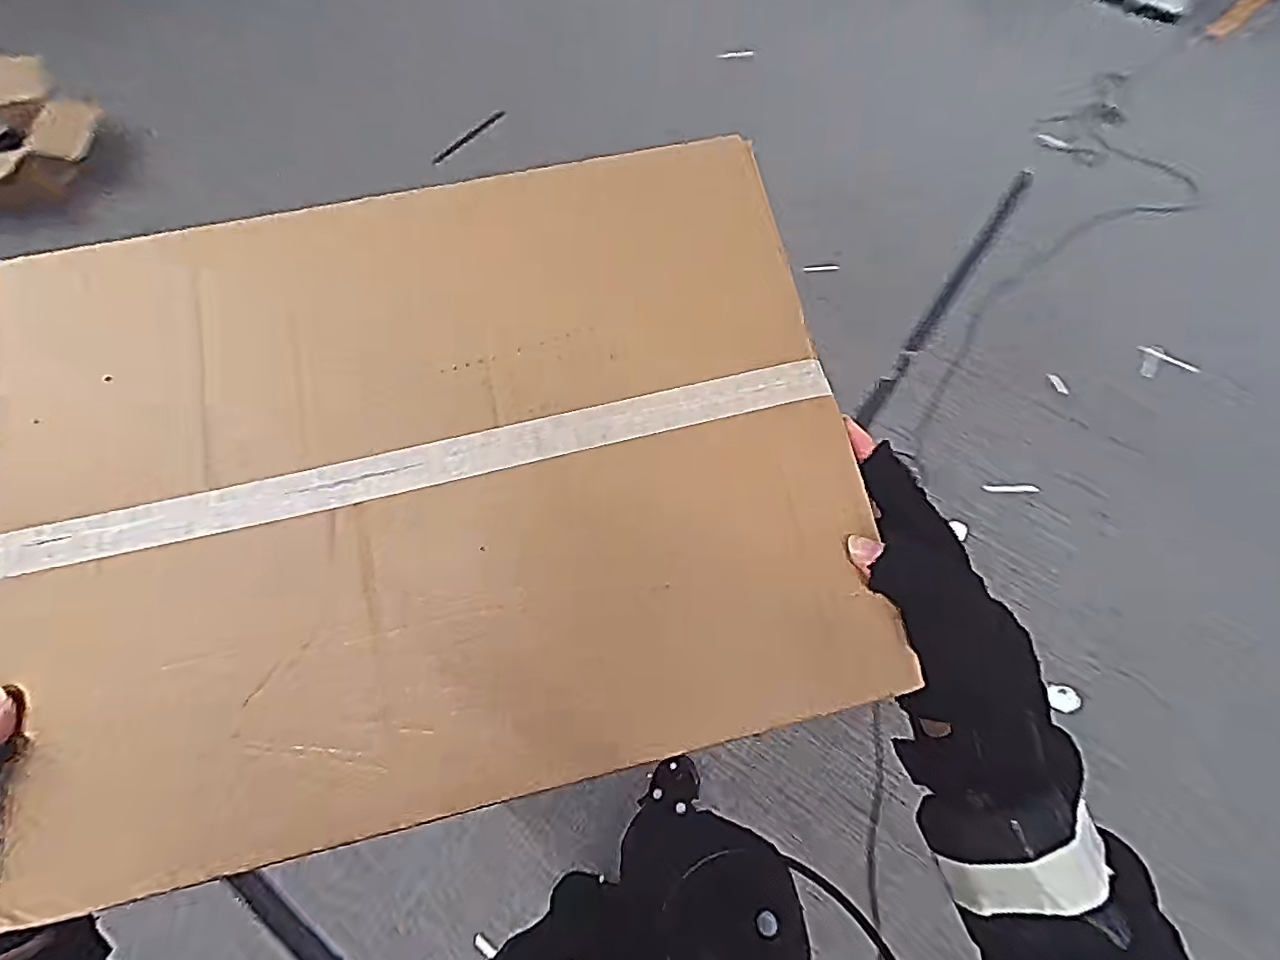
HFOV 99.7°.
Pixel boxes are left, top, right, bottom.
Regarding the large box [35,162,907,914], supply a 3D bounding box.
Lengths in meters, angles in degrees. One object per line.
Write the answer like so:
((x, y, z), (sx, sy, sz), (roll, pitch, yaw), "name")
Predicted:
((-0.097, 0.029, 0.421), (0.408, 0.320, 0.320), (-12, 78, -4), "large box")
